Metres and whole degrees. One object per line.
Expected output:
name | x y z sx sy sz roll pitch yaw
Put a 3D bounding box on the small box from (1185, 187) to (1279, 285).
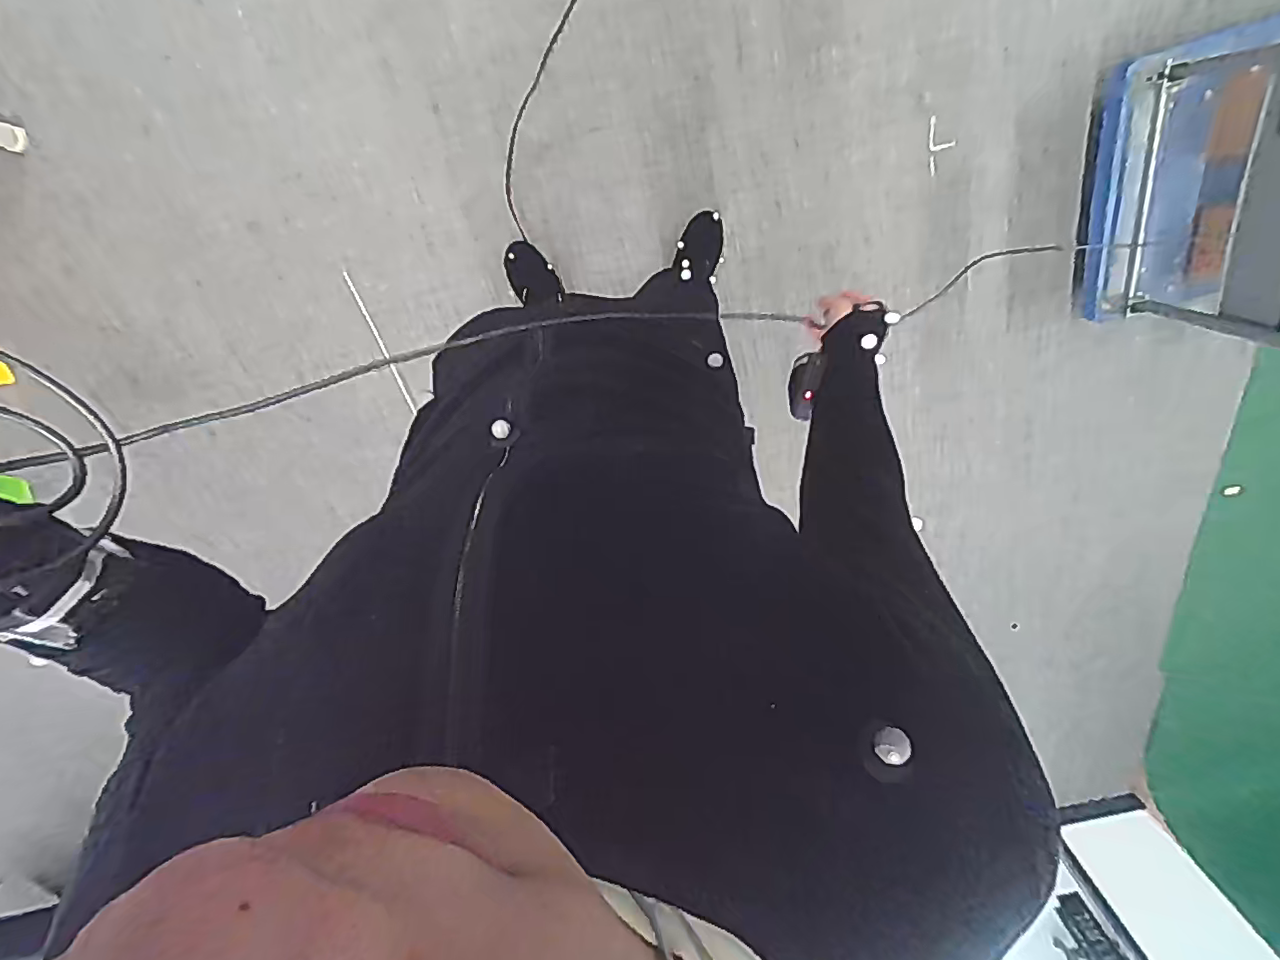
small box | 1.432 -0.564 1.240 0.179 0.176 0.168 -13 118 5
